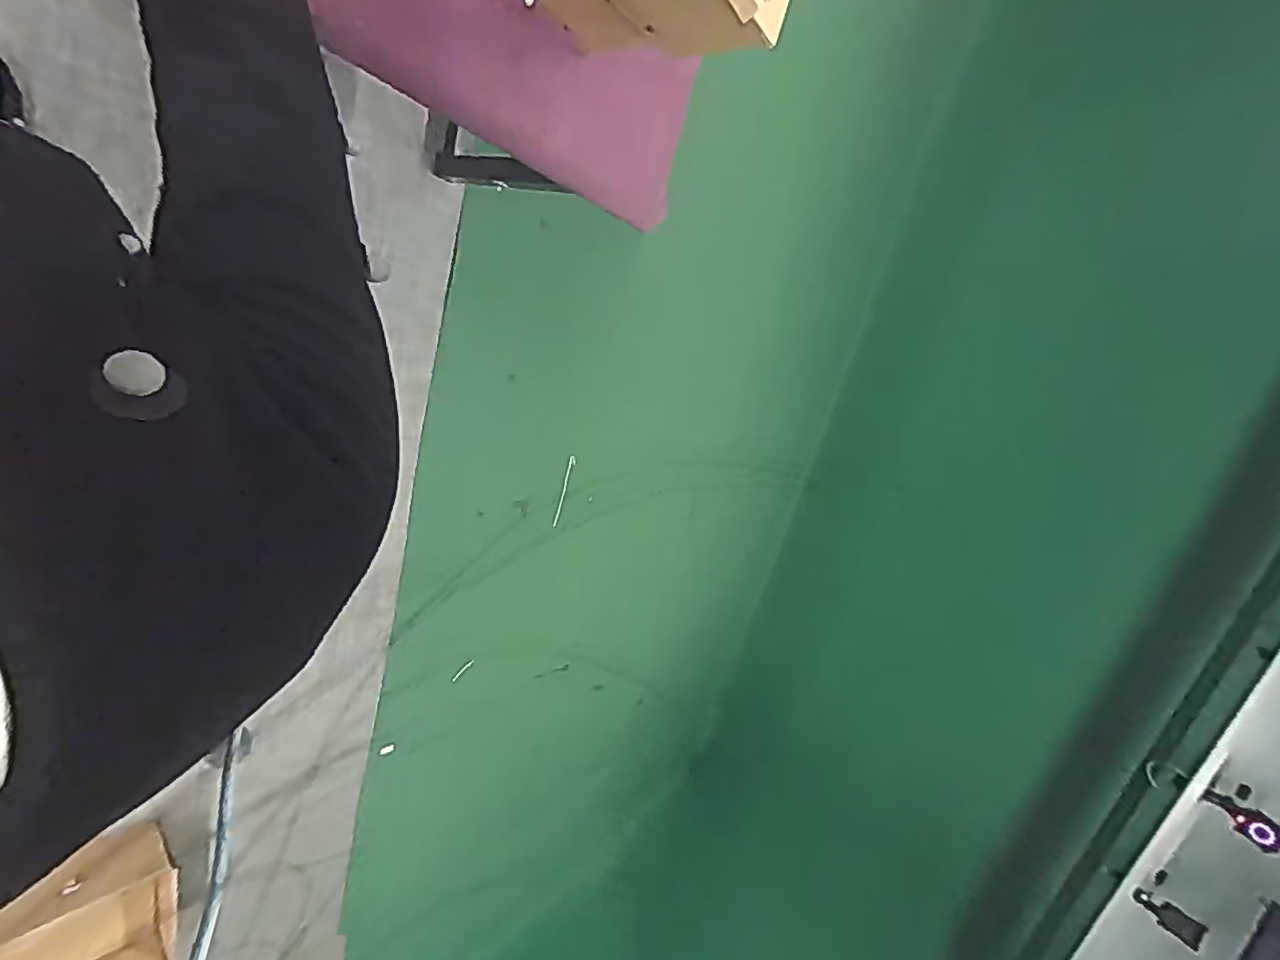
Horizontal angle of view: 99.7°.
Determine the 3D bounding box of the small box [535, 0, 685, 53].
[{"bbox_3d":[-0.042,-0.682,0.684,0.168,0.176,0.179,4,109,-55],"label":"small box"}]
